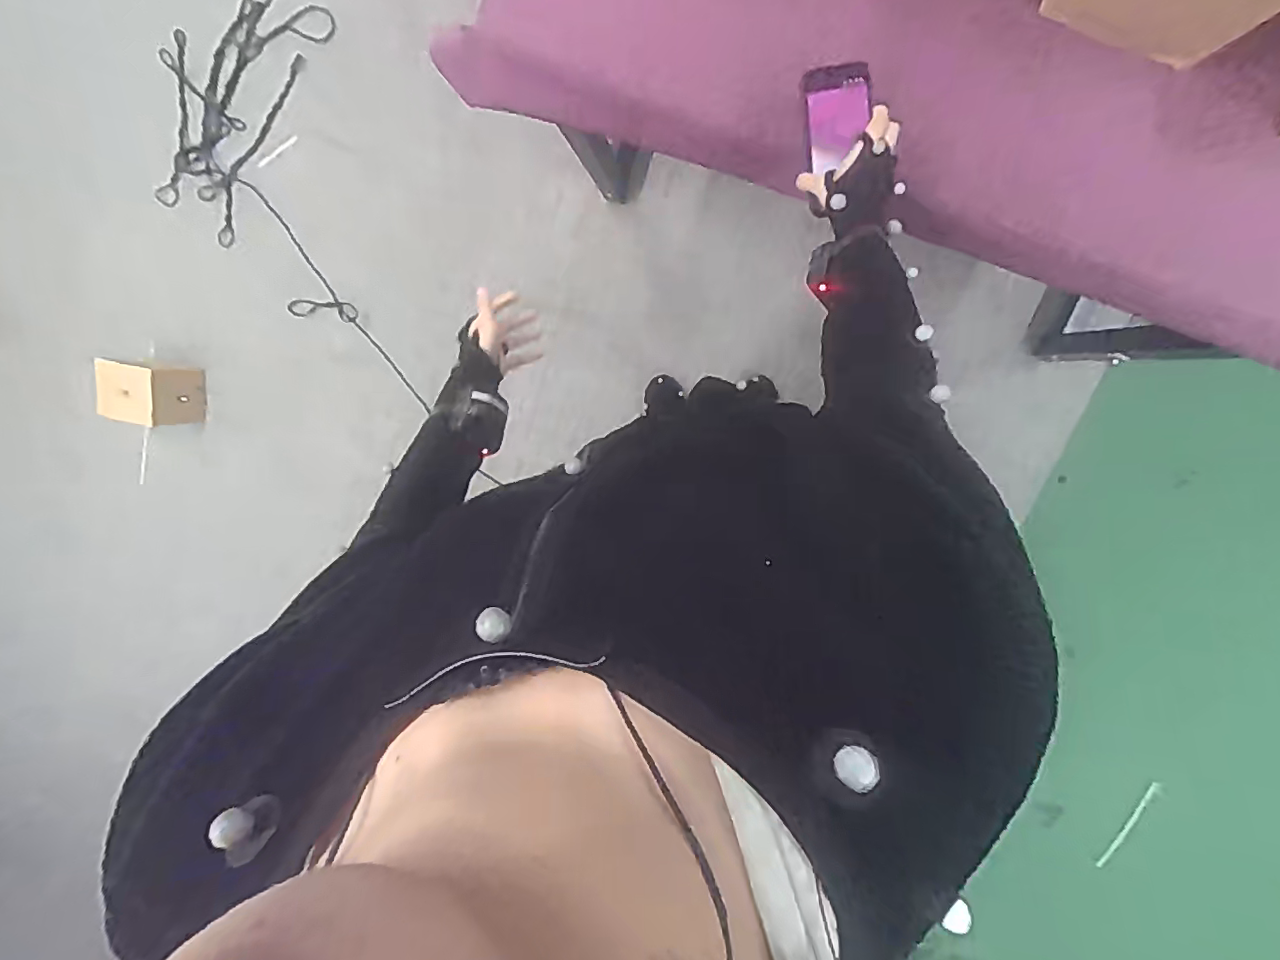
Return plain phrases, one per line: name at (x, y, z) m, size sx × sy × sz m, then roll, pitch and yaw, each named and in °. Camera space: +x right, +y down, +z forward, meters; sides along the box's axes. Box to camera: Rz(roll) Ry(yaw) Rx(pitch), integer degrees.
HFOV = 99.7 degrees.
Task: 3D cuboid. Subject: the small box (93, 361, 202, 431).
small box at (-1.420, -0.250, 1.569) m, size 0.179 × 0.176 × 0.168 m, roll 13°, pitch 103°, yaw 5°
